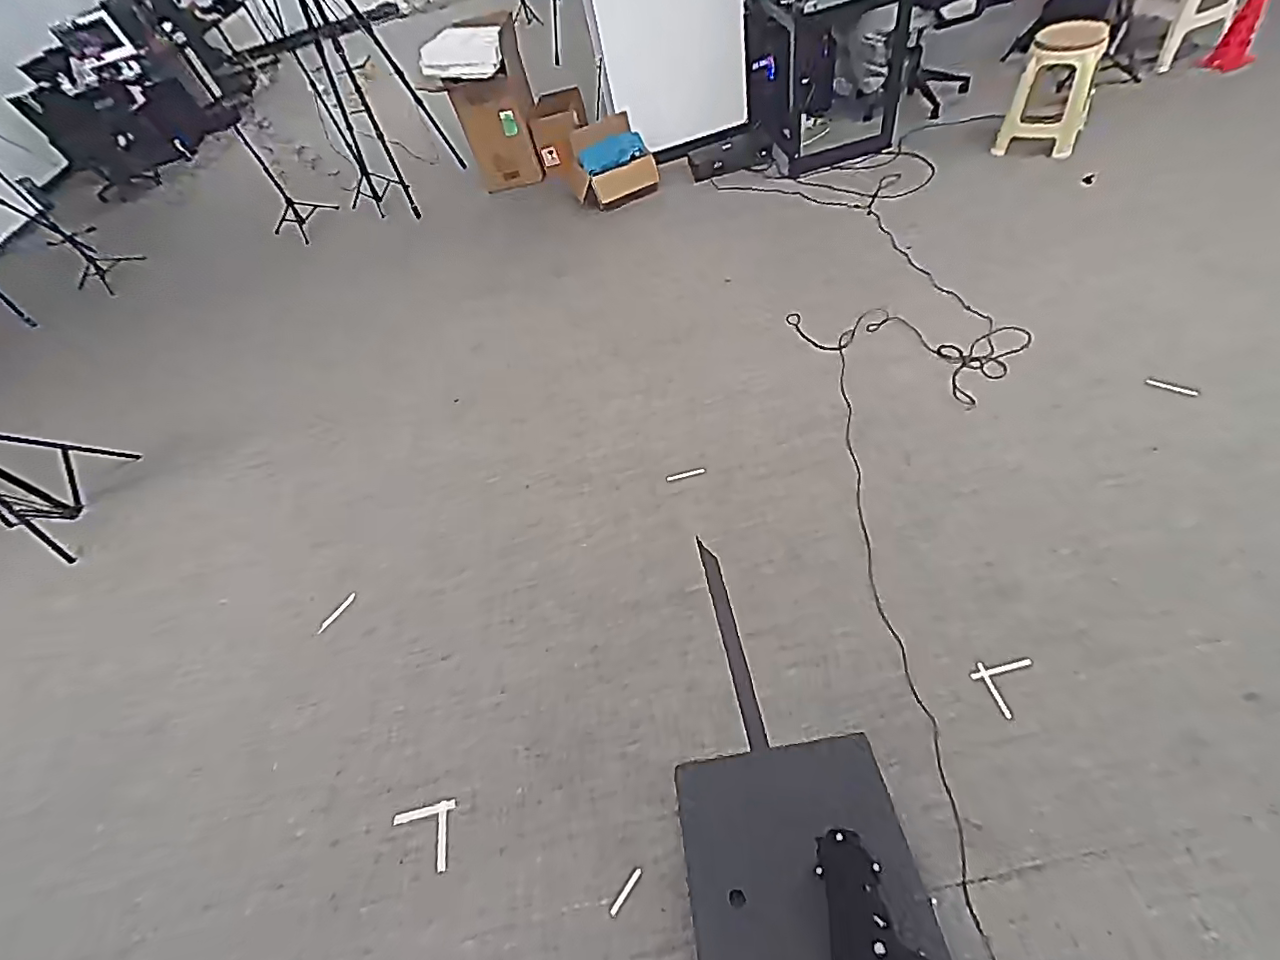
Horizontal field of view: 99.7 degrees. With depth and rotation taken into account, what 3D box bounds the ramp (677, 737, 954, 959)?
[{"bbox_3d":[0.368,1.020,0.996,0.509,0.206,0.991,-15,50,5],"label":"ramp"}]
